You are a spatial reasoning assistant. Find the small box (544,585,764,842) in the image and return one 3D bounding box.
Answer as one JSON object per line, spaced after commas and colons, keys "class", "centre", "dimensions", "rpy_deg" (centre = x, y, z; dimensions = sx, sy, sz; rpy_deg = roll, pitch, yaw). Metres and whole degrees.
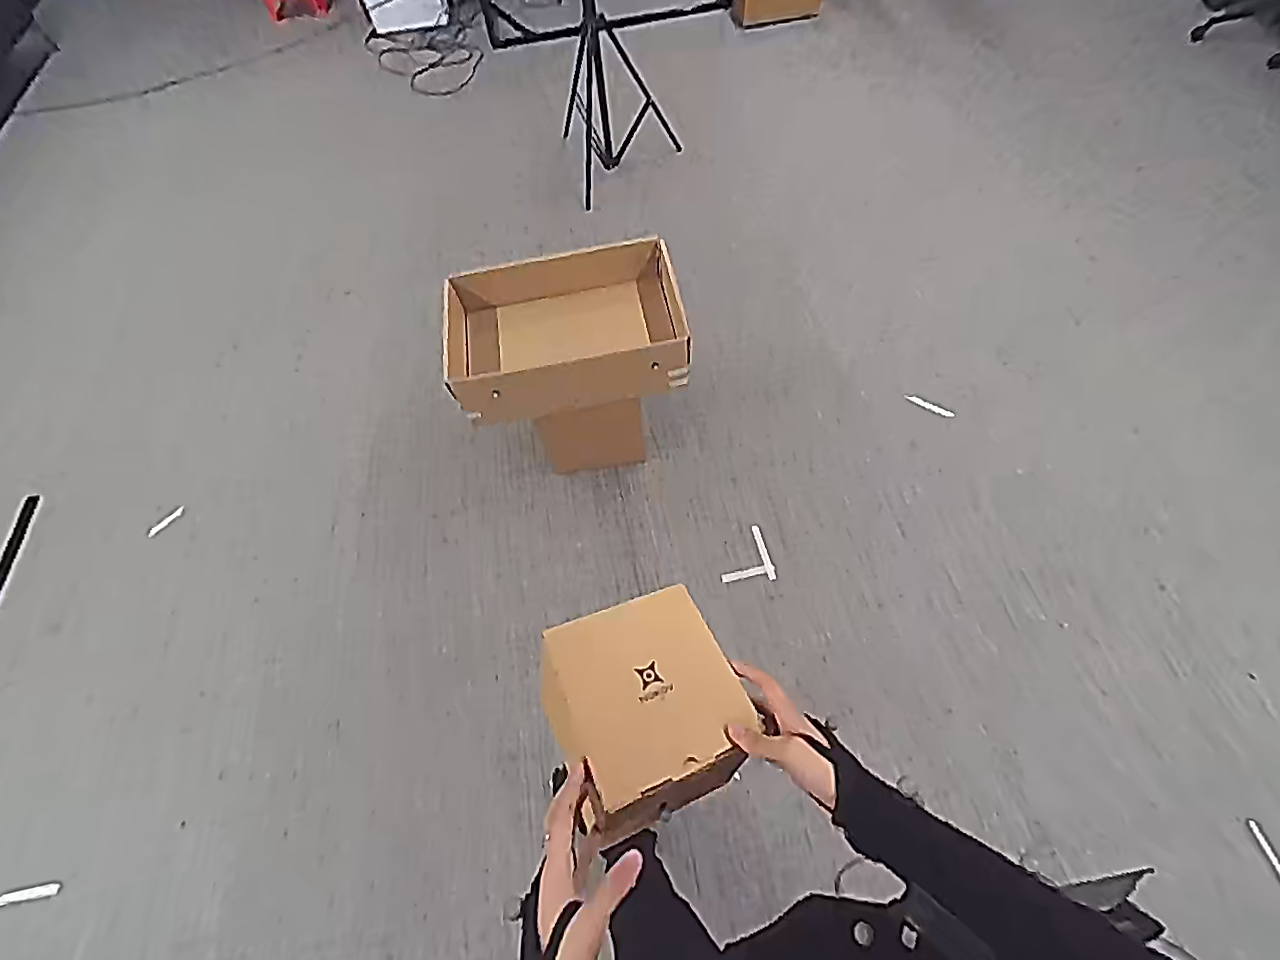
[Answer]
{"class": "small box", "centre": [-0.002, 0.248, 0.581], "dimensions": [0.168, 0.176, 0.179], "rpy_deg": [-14, 51, -22]}
